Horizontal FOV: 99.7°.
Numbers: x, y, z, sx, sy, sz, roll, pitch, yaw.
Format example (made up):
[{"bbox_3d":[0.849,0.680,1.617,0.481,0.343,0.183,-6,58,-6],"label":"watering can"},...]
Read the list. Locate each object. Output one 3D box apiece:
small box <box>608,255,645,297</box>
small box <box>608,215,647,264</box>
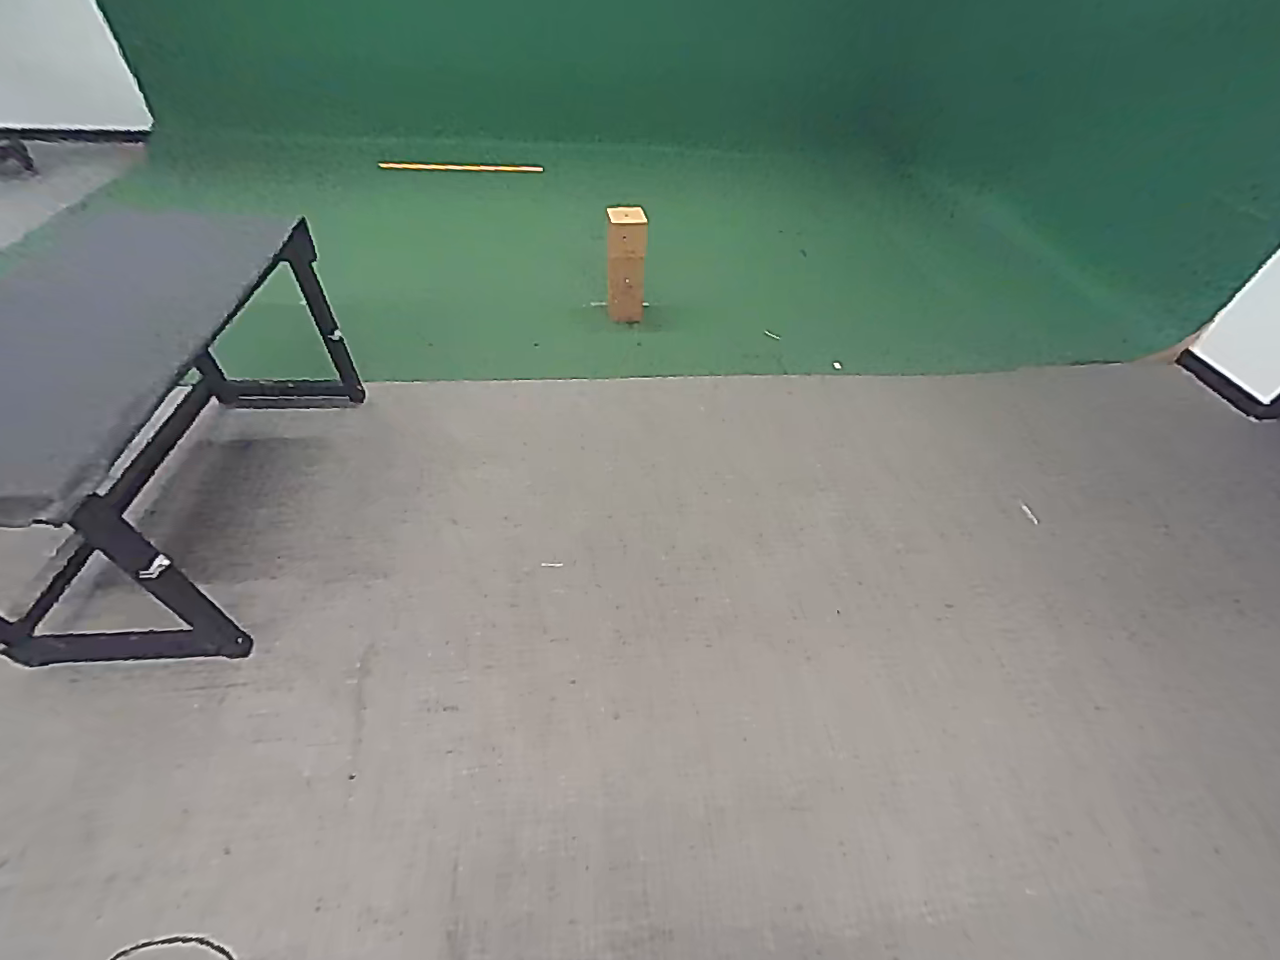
[{"bbox_3d":[-0.069,-1.029,2.690,0.168,0.176,0.179,-4,47,-7],"label":"small box"},{"bbox_3d":[-0.061,-1.138,2.571,0.168,0.176,0.179,-6,46,-9],"label":"small box"}]
